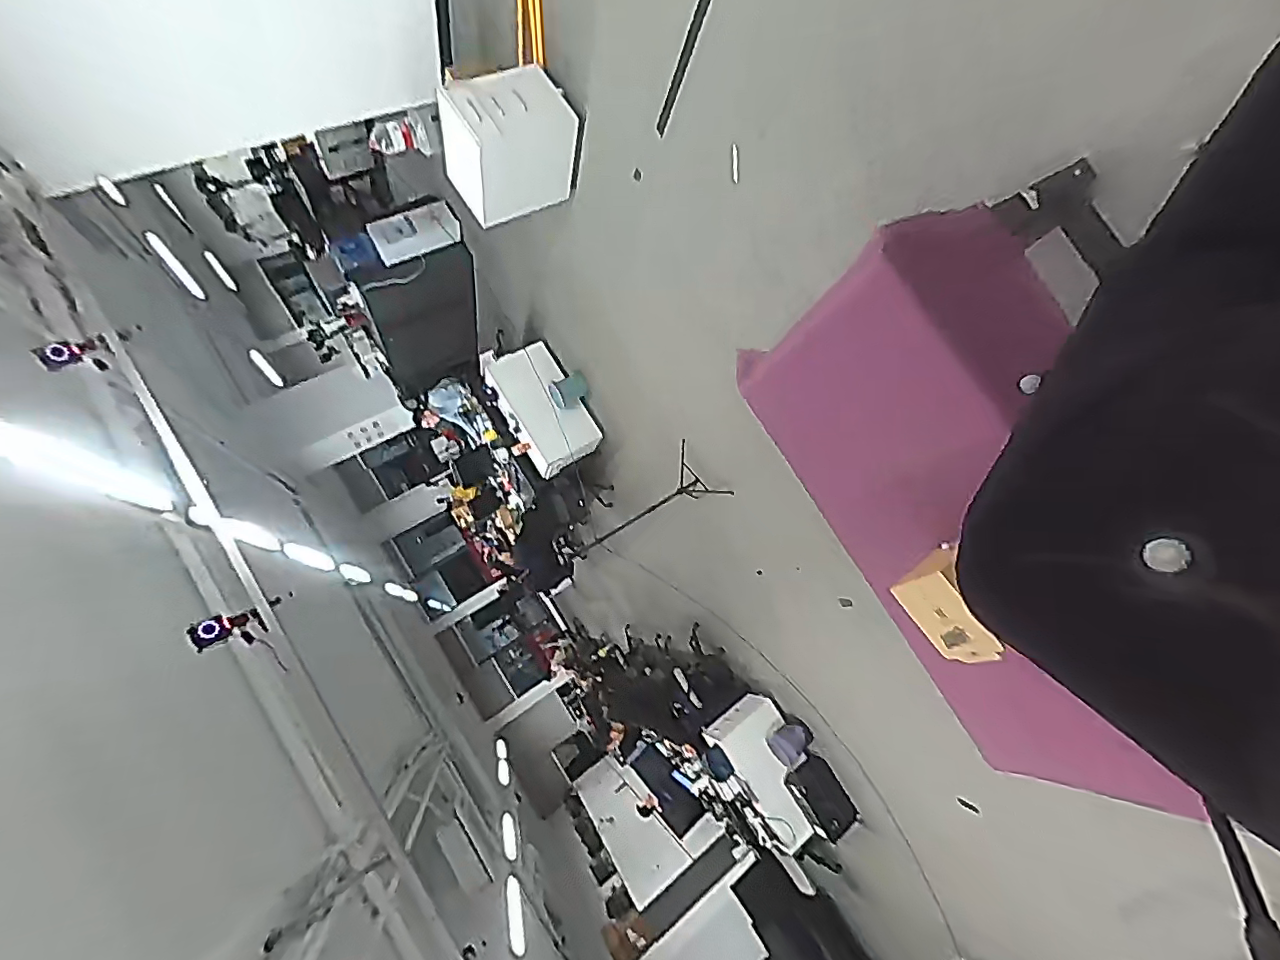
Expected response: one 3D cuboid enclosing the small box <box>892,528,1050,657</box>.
[{"bbox_3d":[0.663,0.227,1.089,0.179,0.176,0.168,54,159,14],"label":"small box"}]
